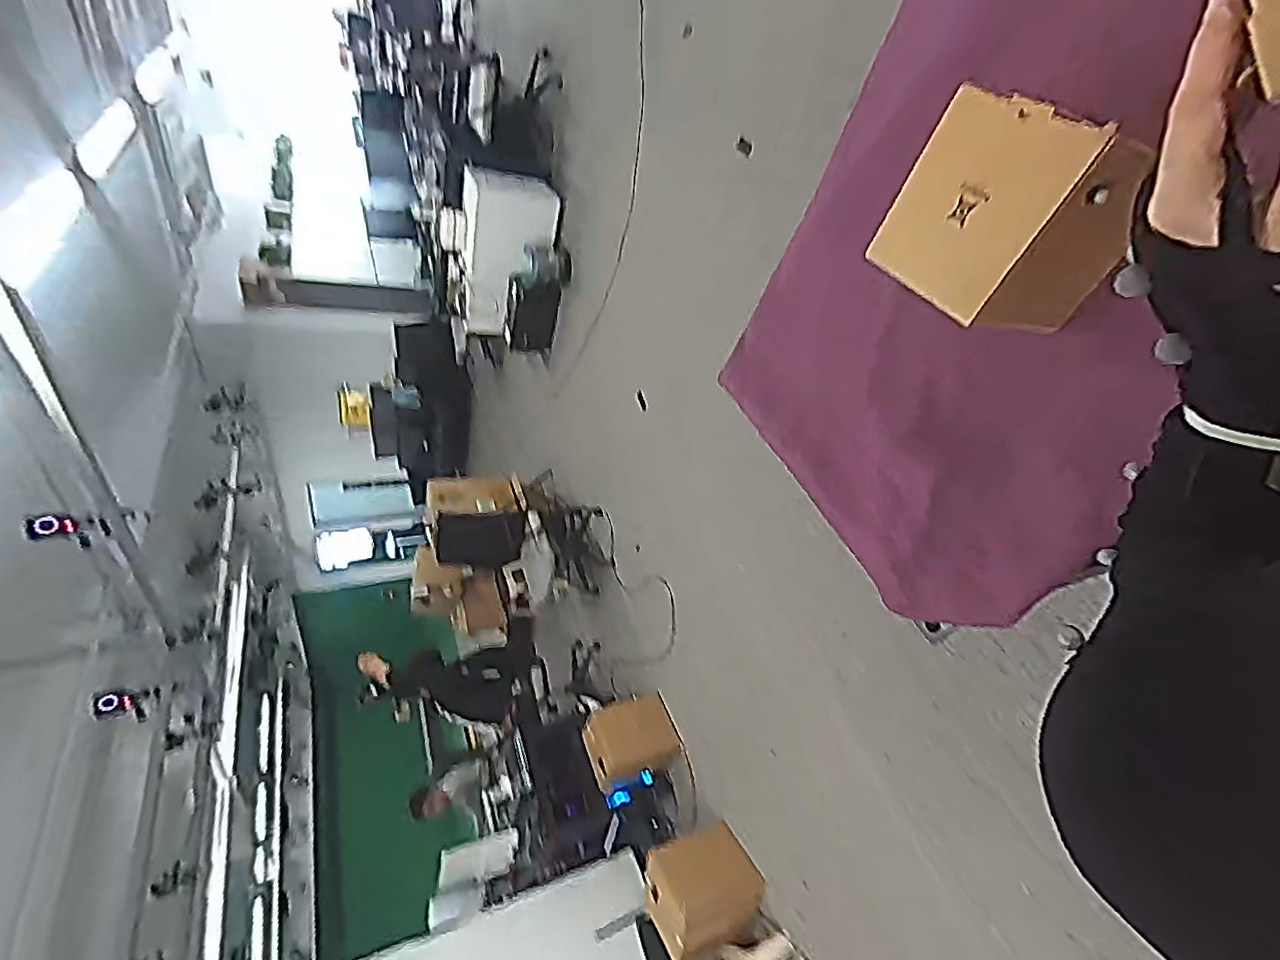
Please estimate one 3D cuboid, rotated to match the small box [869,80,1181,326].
[{"bbox_3d":[0.393,-0.279,0.570,0.168,0.176,0.179,61,144,38],"label":"small box"}]
